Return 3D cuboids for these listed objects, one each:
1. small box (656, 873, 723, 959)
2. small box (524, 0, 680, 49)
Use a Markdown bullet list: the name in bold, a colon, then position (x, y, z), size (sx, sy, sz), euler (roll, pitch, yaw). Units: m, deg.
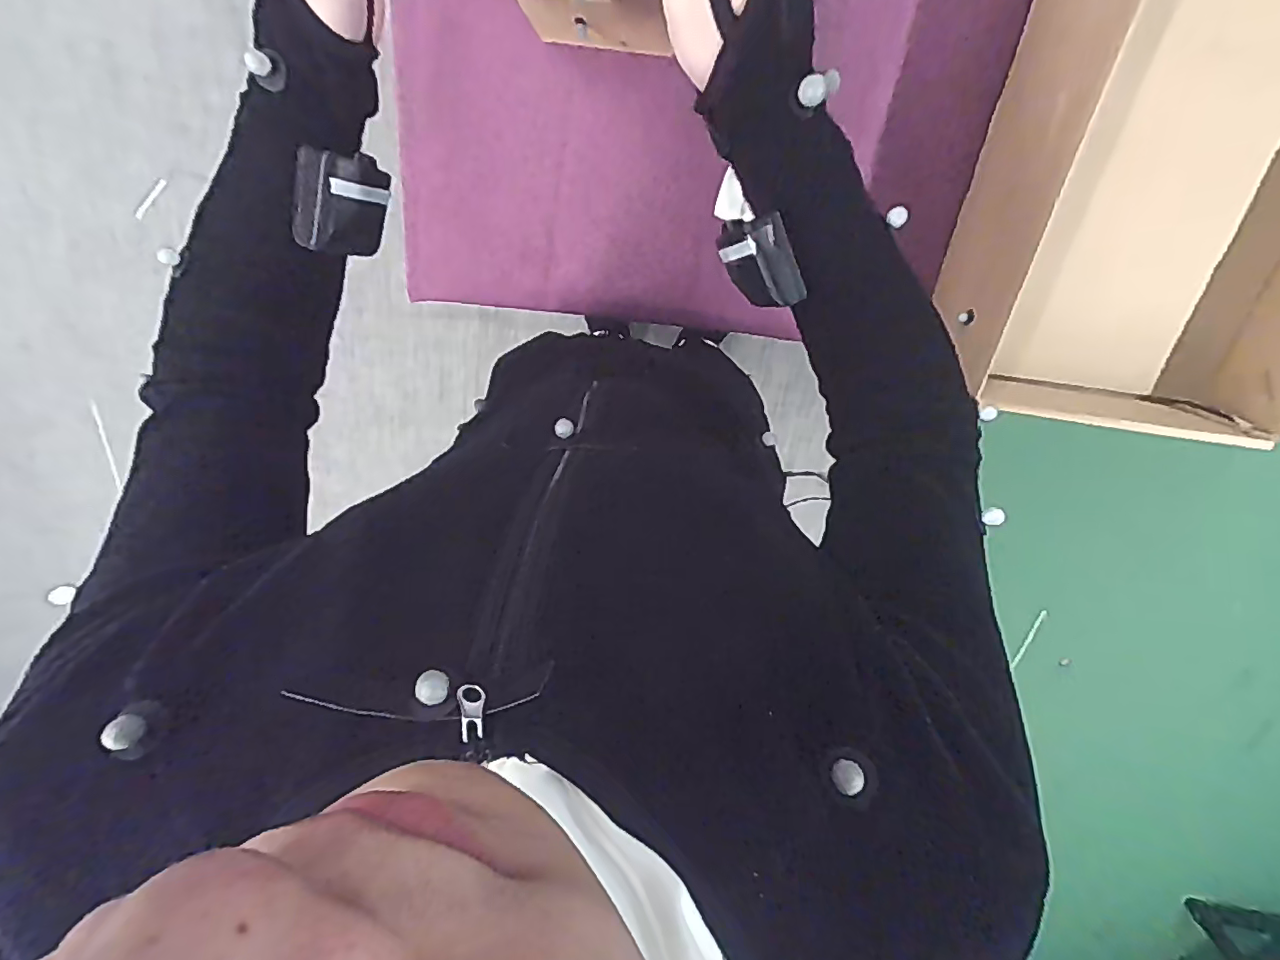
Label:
- **small box**: position (0.159, 1.424, 1.753), size (0.168, 0.176, 0.179), euler (-21, 111, 10)
- **small box**: position (-0.034, -0.582, 0.561), size (0.168, 0.176, 0.179), euler (6, 114, -1)
